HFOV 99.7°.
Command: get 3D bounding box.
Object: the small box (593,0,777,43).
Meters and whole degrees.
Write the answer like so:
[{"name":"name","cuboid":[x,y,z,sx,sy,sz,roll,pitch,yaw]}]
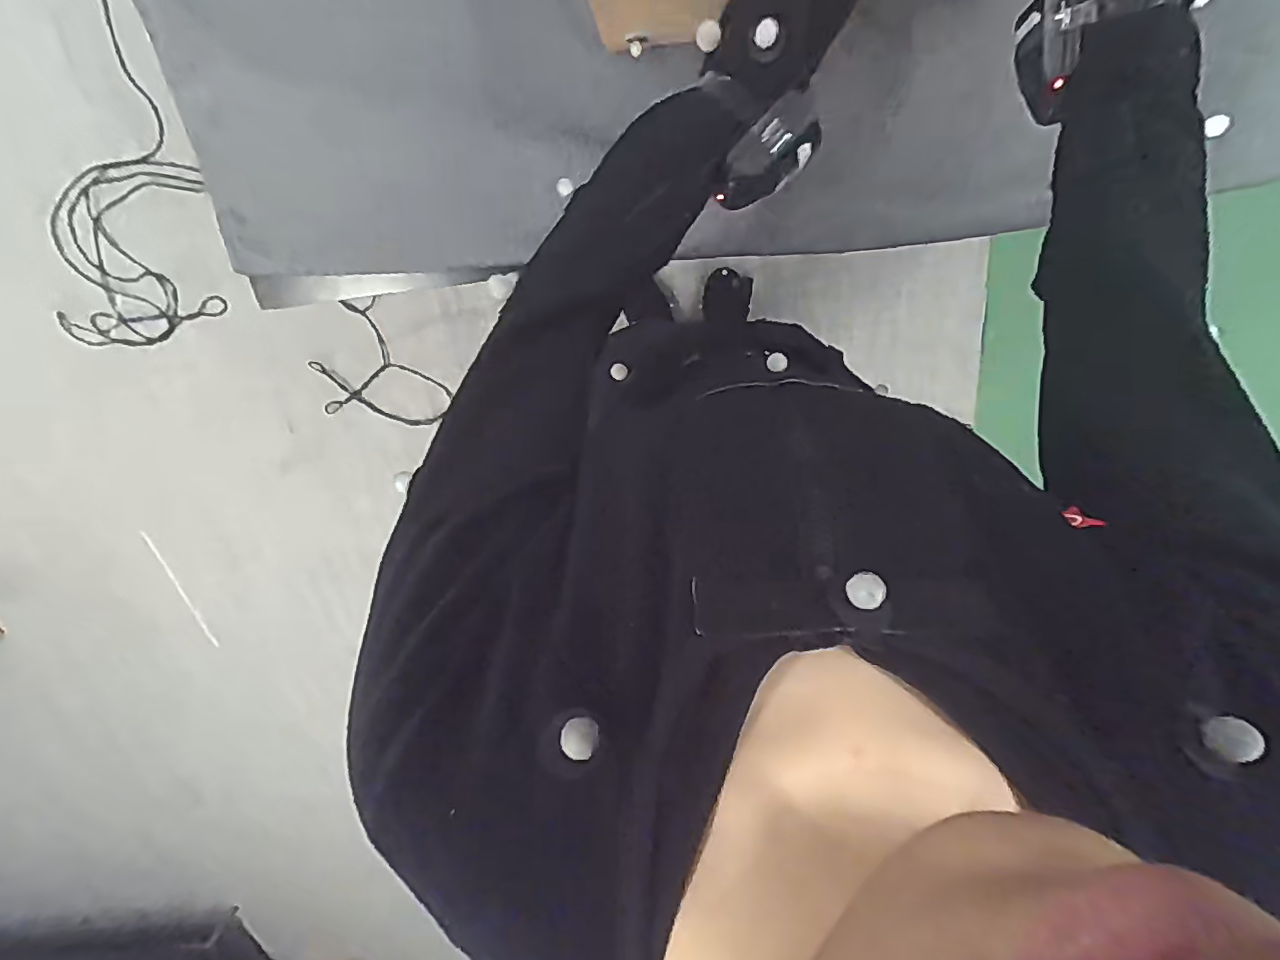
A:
[{"name":"small box","cuboid":[0.038,-0.493,0.444,0.168,0.176,0.179,-3,113,5]}]
